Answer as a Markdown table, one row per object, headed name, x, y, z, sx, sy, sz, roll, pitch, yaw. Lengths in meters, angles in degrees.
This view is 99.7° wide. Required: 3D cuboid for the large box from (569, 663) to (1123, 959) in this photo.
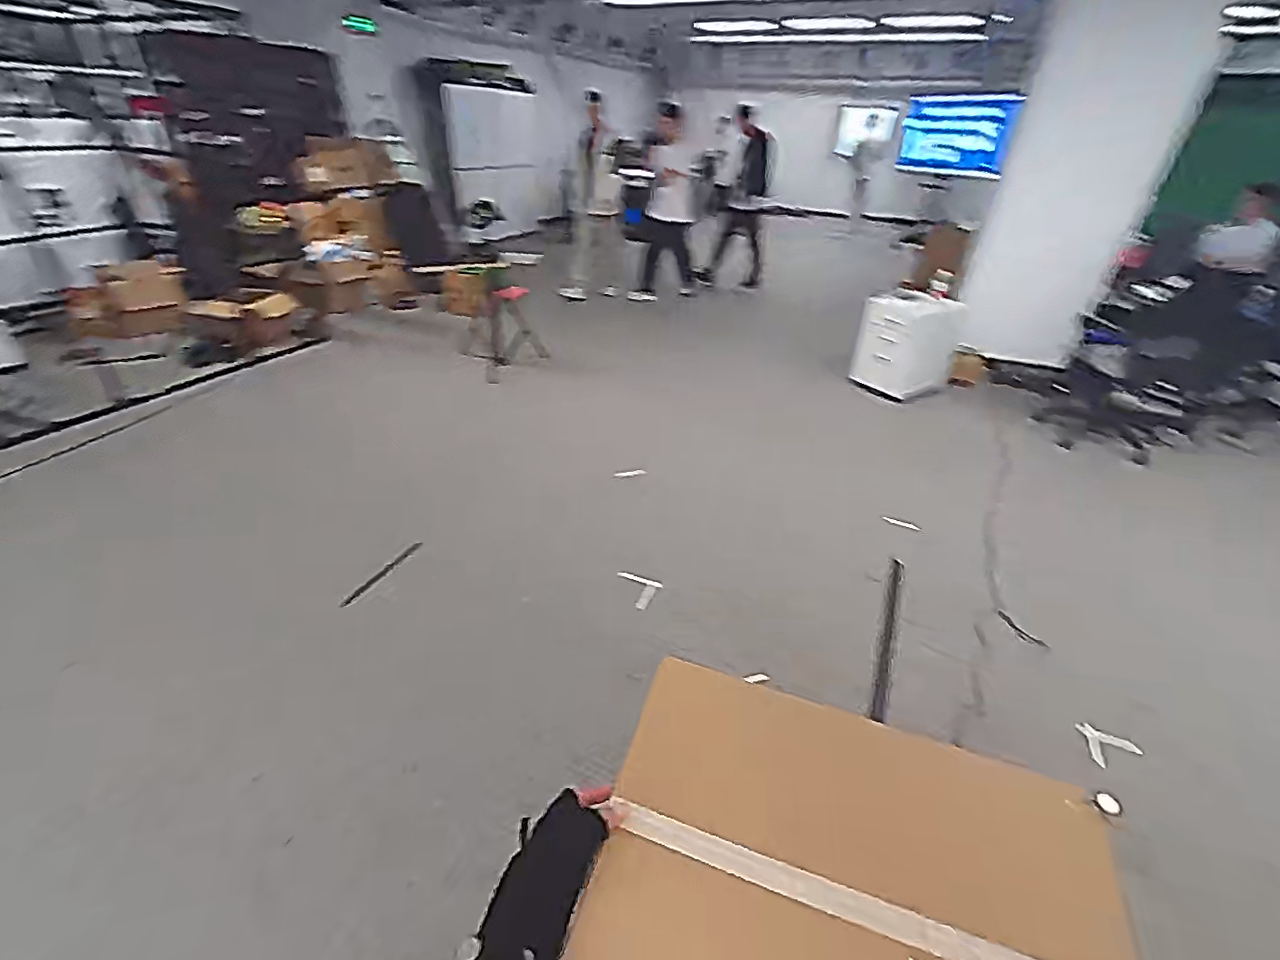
| name | x | y | z | sx | sy | sz | roll | pitch | yaw |
| --- | --- | --- | --- | --- | --- | --- | --- | --- | --- |
| large box | 0.166 | 0.447 | 0.538 | 0.408 | 0.320 | 0.320 | 14 | 45 | 14 |
